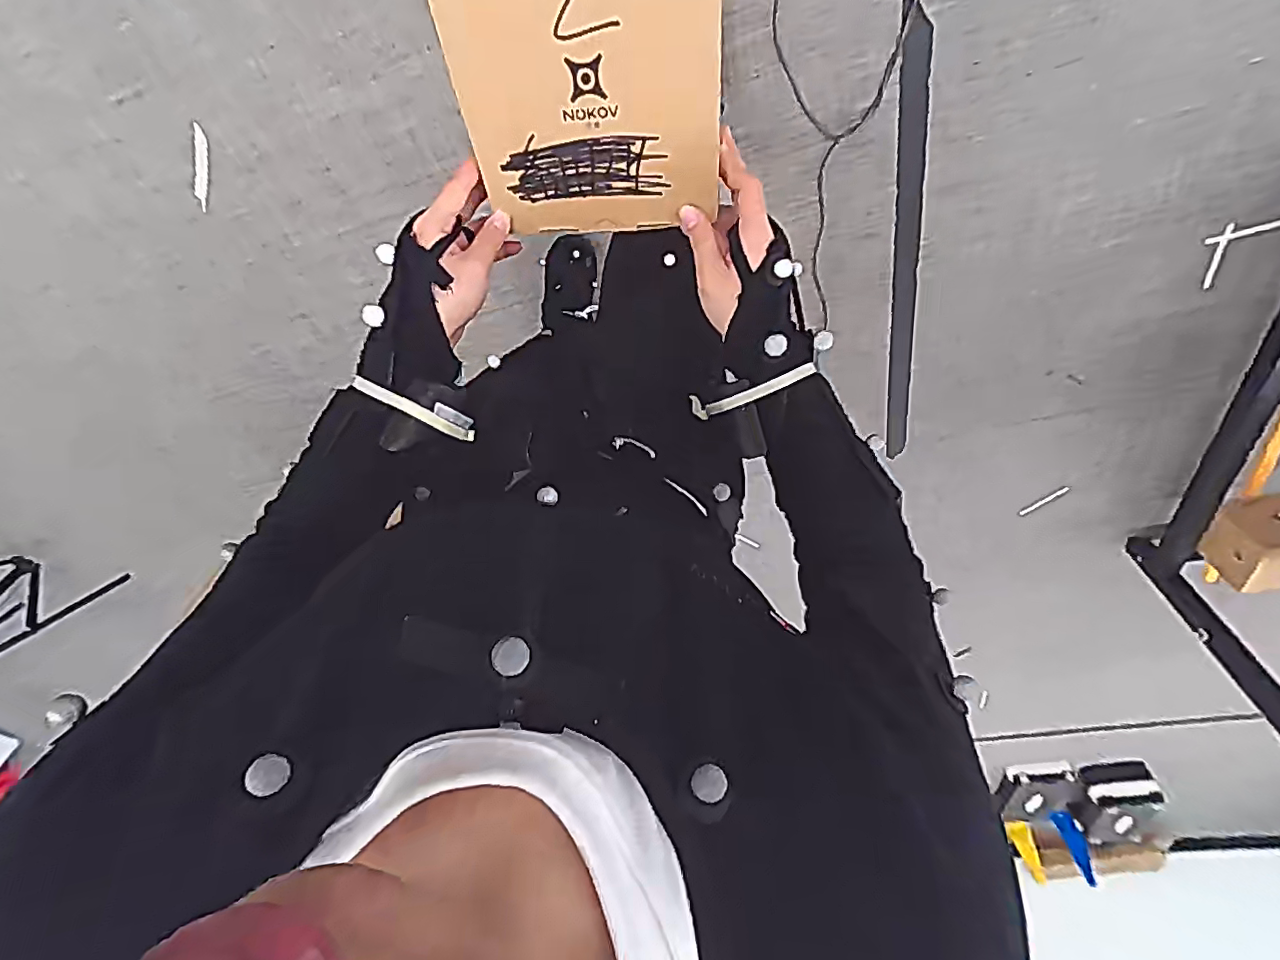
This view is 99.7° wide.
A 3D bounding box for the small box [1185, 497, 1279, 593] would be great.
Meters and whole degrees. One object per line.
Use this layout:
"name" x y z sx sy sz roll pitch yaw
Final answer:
"small box" 1.565 0.160 1.384 0.168 0.176 0.179 -12 130 13
